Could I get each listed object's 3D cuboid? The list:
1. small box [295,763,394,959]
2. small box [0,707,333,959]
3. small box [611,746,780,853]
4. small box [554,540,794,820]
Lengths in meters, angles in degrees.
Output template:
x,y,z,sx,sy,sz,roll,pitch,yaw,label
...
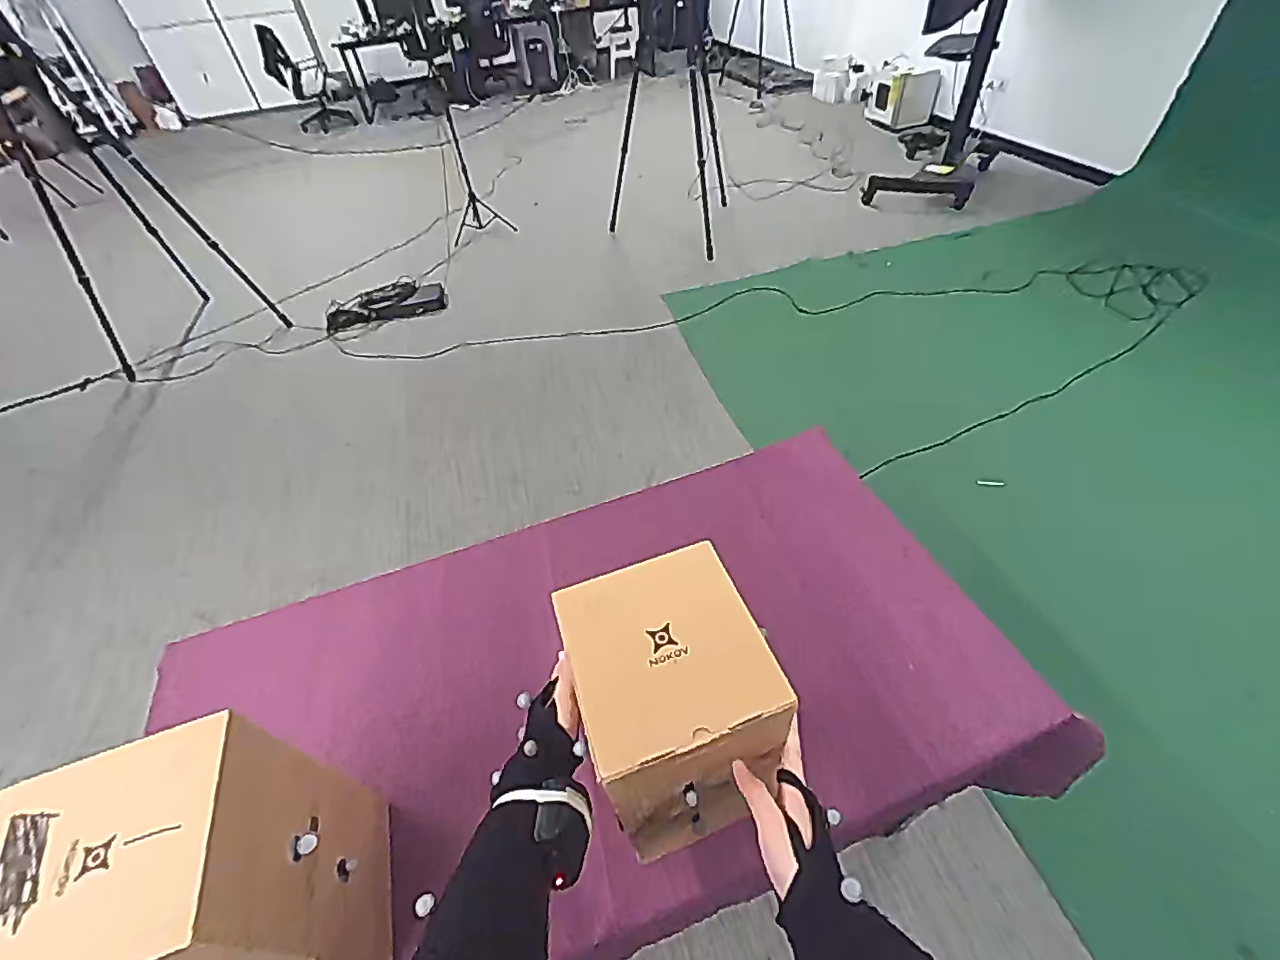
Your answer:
x,y,z,sx,sy,sz,roll,pitch,yaw,label
-0.376,0.440,0.572,0.168,0.176,0.179,-17,47,-10,small box
-0.392,0.328,0.452,0.179,0.176,0.168,-18,47,-10,small box
0.046,0.310,0.642,0.179,0.176,0.168,-19,48,-10,small box
0.025,0.194,0.528,0.168,0.176,0.179,-18,48,-9,small box
